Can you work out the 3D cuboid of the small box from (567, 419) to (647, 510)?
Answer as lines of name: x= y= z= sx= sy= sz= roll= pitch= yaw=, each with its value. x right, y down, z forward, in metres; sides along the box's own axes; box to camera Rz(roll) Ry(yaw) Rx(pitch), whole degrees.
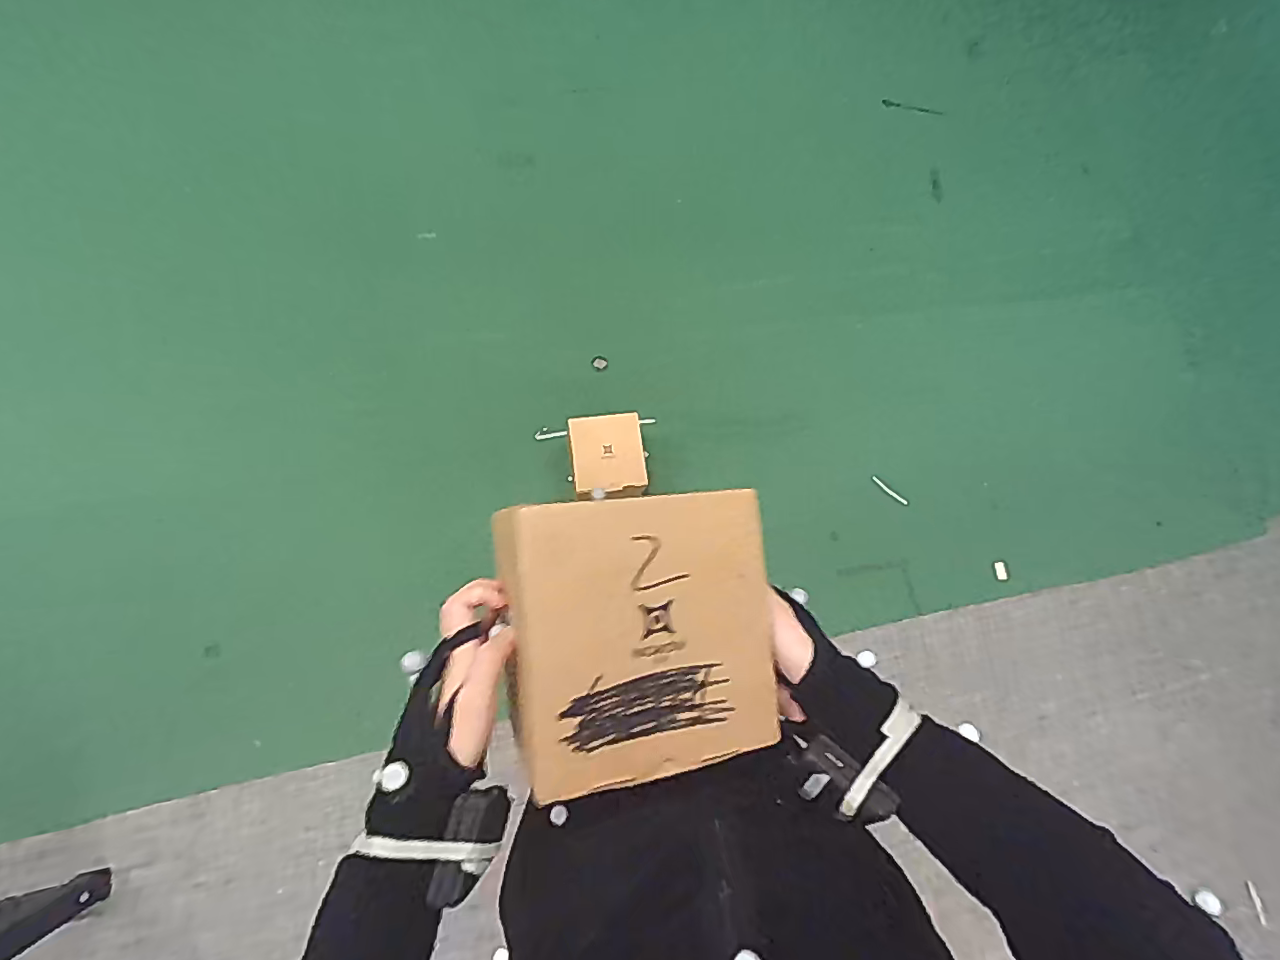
small box: x=-0.087 y=-0.034 z=1.314 sx=0.168 sy=0.176 sz=0.179 roll=-7 pitch=79 yaw=-10
